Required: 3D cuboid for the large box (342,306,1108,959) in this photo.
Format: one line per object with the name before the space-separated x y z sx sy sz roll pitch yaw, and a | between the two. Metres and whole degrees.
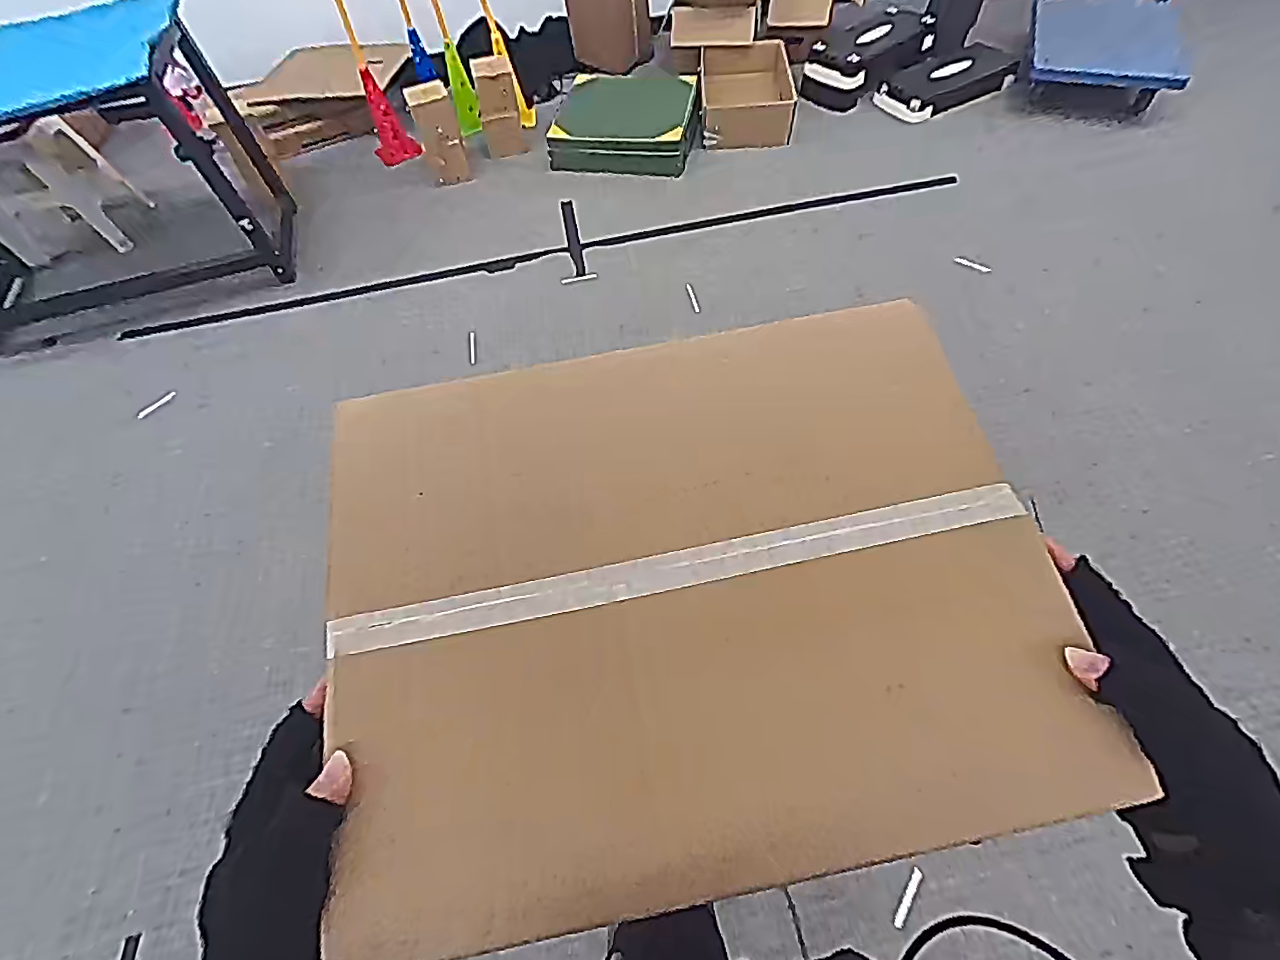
large box | 0.028 0.107 0.463 0.408 0.320 0.320 -12 68 -2
